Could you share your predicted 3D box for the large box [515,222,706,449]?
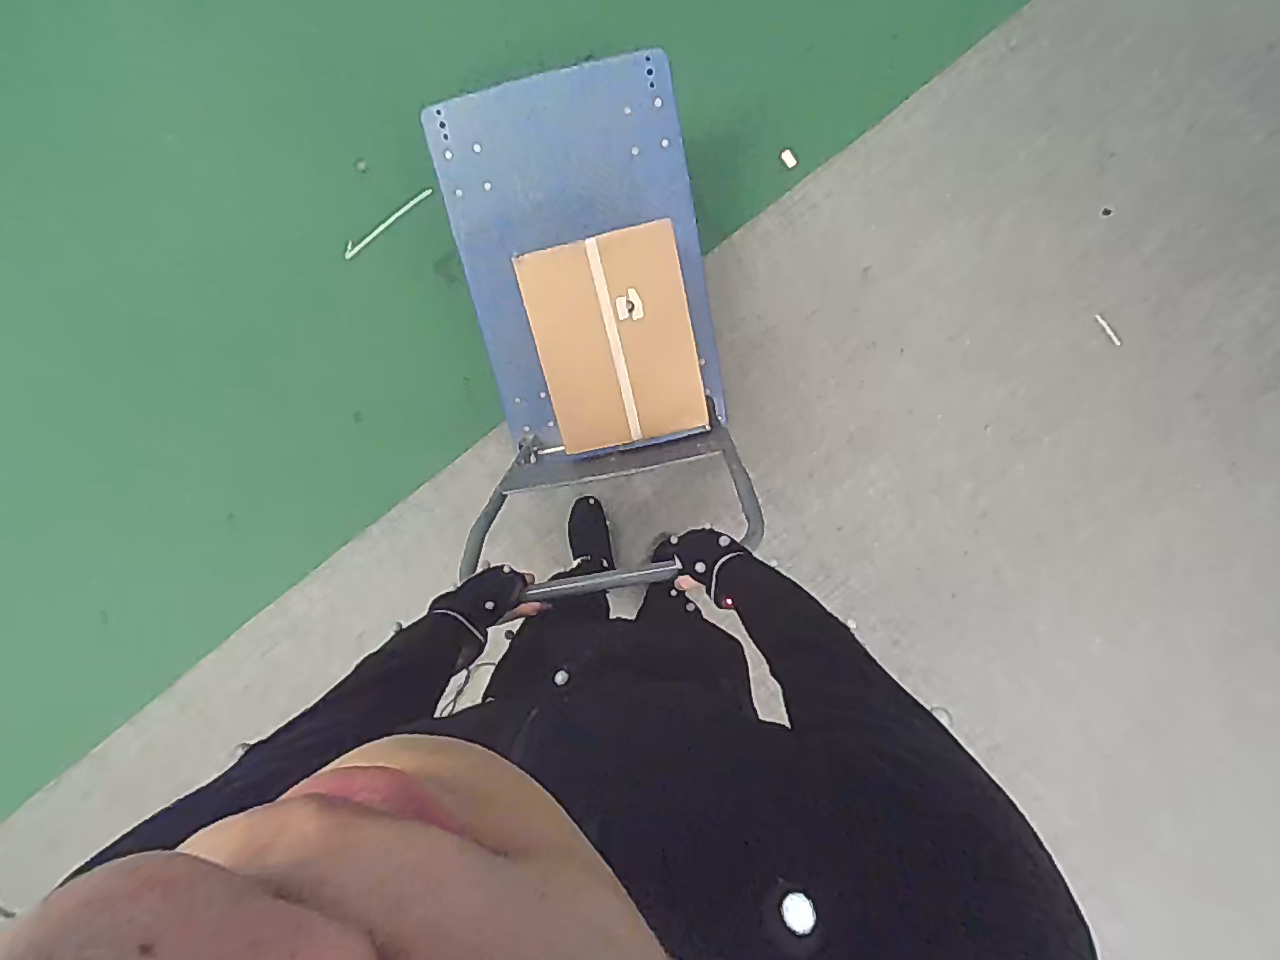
[{"bbox_3d":[-0.047,-0.325,1.241,0.320,0.320,0.408,-11,108,5],"label":"large box"}]
